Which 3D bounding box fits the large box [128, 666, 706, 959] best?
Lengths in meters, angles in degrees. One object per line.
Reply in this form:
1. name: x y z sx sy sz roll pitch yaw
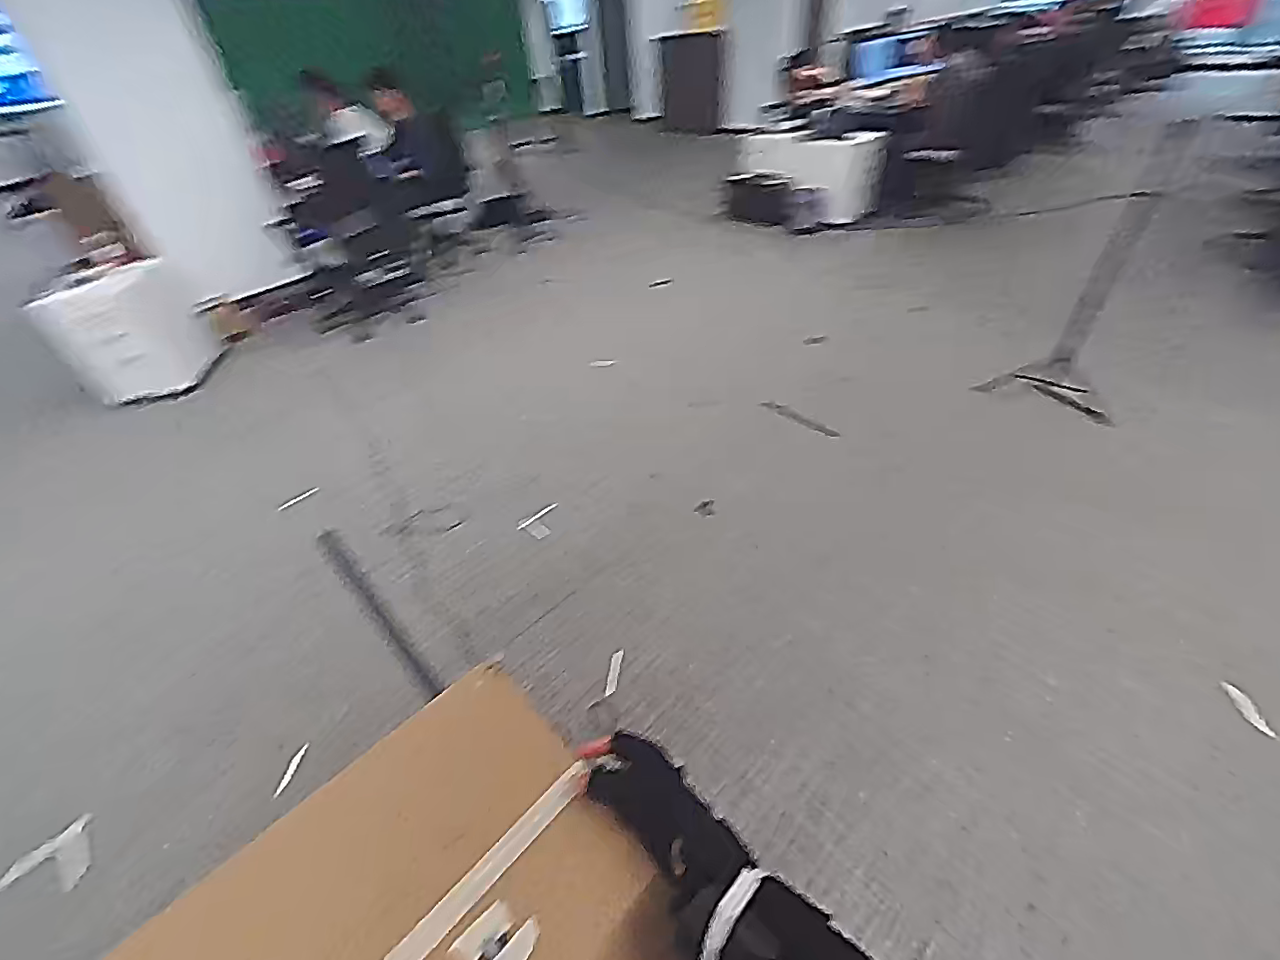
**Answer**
1. large box: -0.194 0.483 0.526 0.320 0.320 0.408 36 53 27
